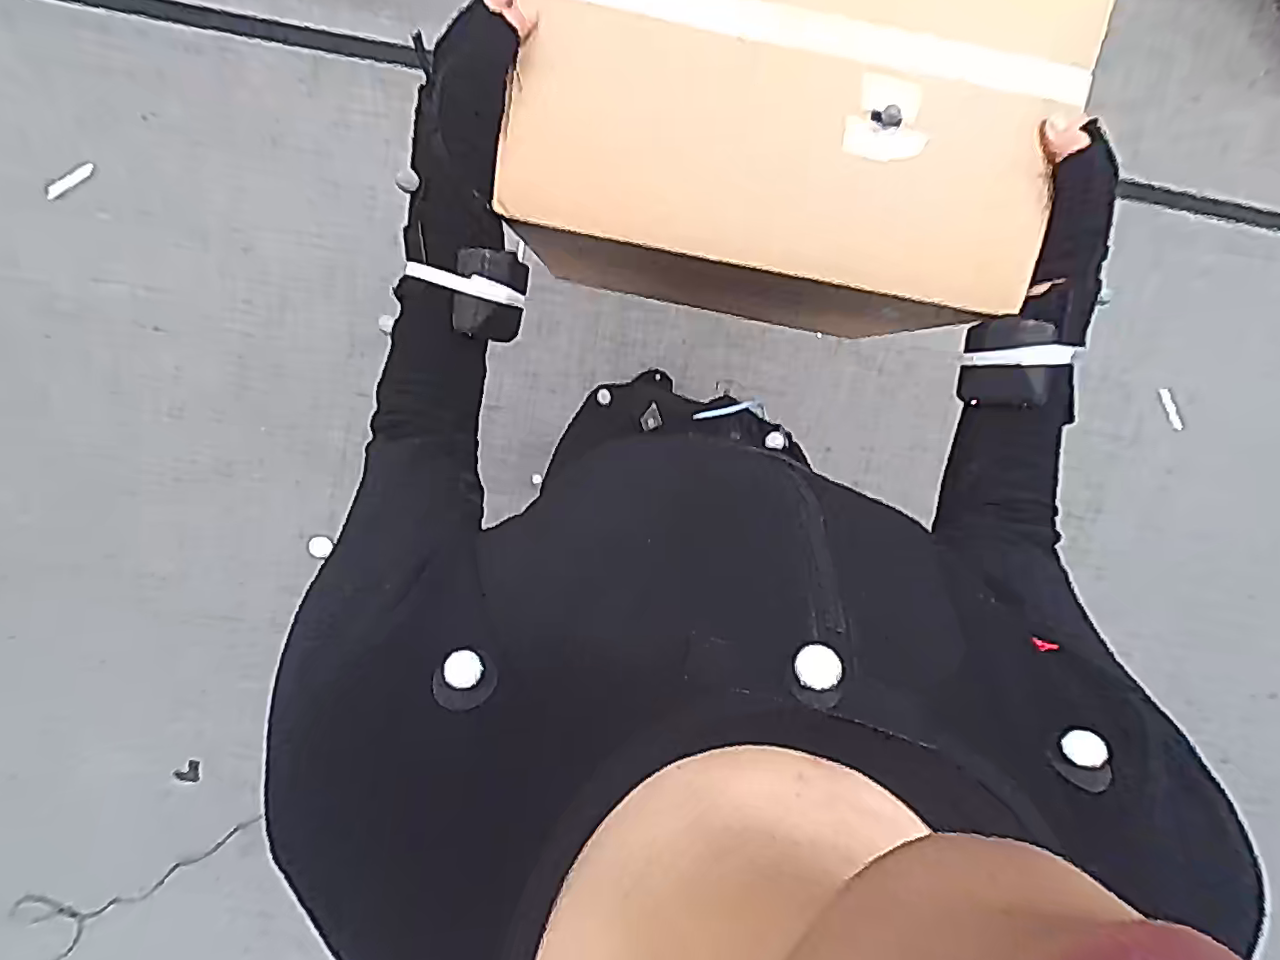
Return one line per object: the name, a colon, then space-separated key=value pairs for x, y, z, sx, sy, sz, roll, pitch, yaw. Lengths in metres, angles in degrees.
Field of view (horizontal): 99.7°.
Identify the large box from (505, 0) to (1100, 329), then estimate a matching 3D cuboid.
large box: x=0.113 y=-0.346 z=0.530 sx=0.408 sy=0.320 sz=0.320 roll=10 pitch=103 yaw=-3
